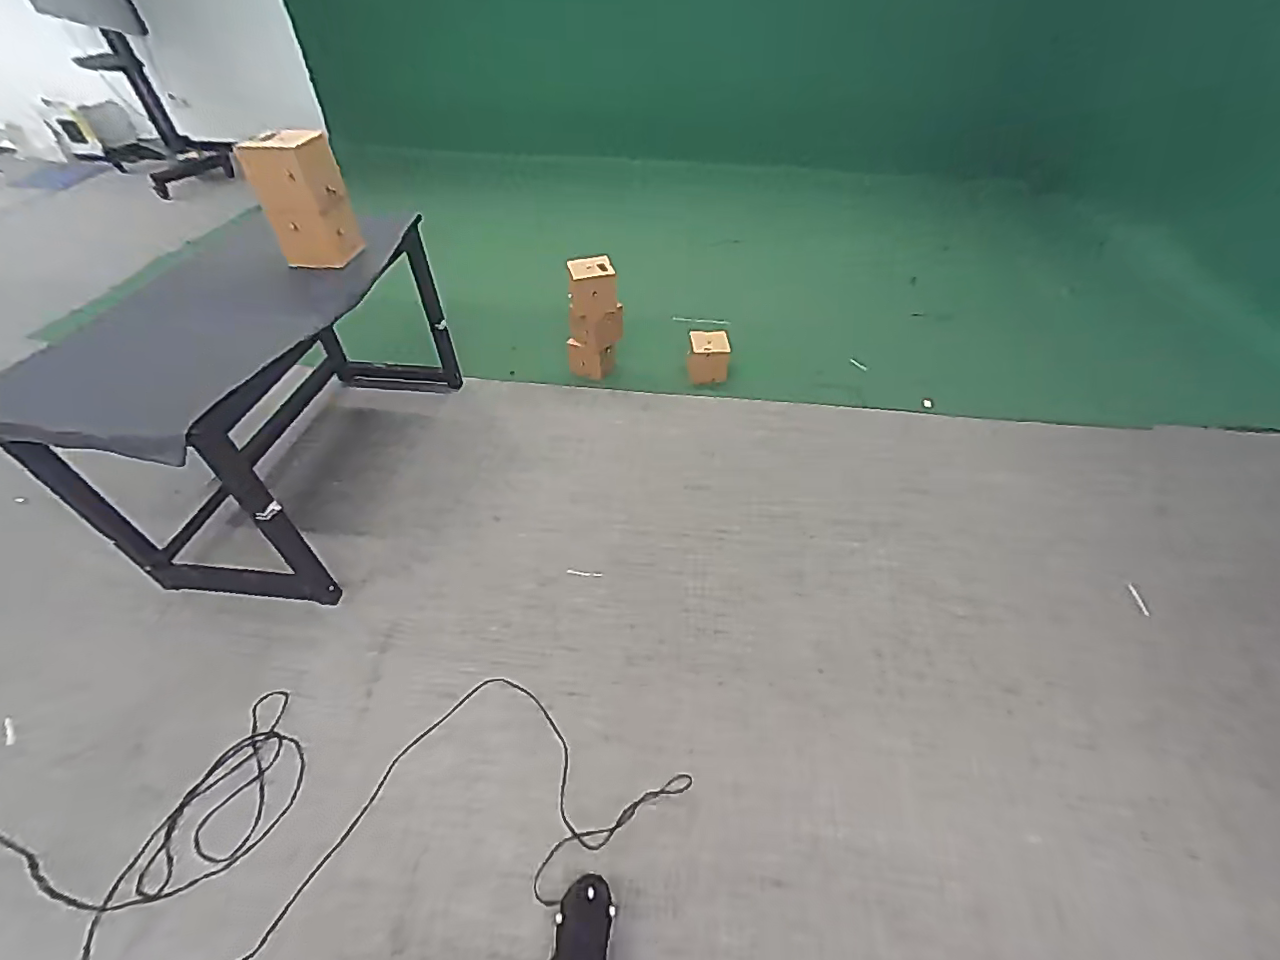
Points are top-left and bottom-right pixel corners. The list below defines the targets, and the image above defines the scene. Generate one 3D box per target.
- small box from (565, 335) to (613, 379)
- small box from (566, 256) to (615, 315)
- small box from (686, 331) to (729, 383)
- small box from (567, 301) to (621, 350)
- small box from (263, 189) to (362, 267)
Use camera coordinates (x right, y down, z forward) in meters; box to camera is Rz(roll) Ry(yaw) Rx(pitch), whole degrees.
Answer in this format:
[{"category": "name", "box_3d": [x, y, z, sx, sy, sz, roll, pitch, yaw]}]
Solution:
[{"category": "small box", "box_3d": [-0.229, -0.592, 2.503, 0.168, 0.176, 0.179, 18, 49, 15]}, {"category": "small box", "box_3d": [-0.205, -0.811, 2.261, 0.179, 0.176, 0.168, -12, 49, -11]}, {"category": "small box", "box_3d": [0.306, -0.564, 2.481, 0.168, 0.176, 0.179, -1, 46, -2]}, {"category": "small box", "box_3d": [-0.197, -0.697, 2.380, 0.168, 0.176, 0.179, 36, 55, 27]}, {"category": "small box", "box_3d": [-0.993, -0.772, 1.661, 0.179, 0.176, 0.168, 4, 47, 5]}]
